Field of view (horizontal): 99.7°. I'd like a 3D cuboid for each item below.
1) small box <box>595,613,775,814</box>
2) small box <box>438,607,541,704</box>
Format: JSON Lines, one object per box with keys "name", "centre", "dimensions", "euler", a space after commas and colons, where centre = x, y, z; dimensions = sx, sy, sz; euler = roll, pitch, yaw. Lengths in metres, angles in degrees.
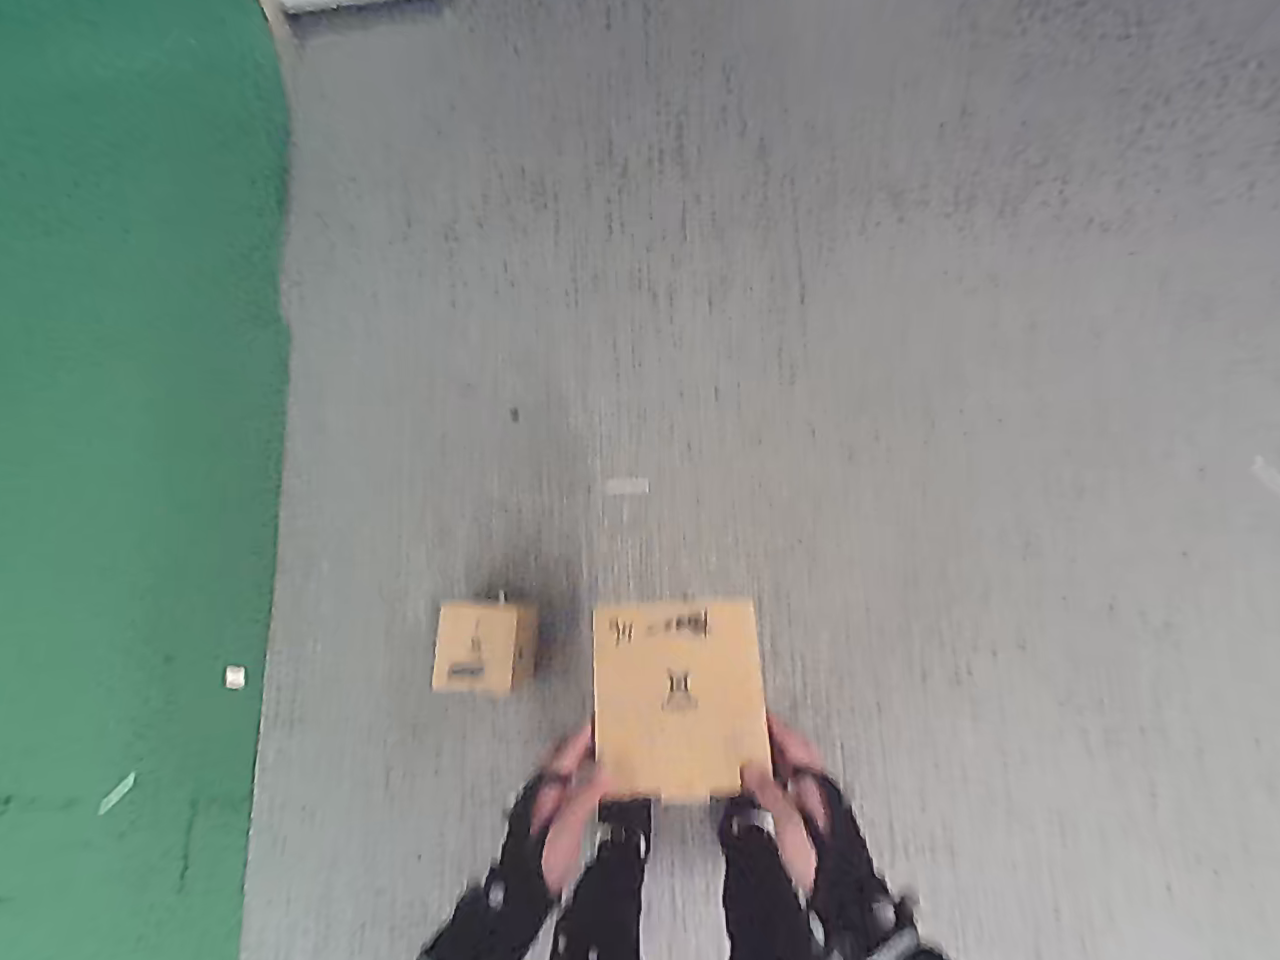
{"name": "small box", "centre": [0.044, 0.241, 0.589], "dimensions": [0.168, 0.176, 0.179], "euler": [-3, 71, 2]}
{"name": "small box", "centre": [-0.322, 0.378, 1.193], "dimensions": [0.168, 0.176, 0.179], "euler": [2, 79, 4]}
